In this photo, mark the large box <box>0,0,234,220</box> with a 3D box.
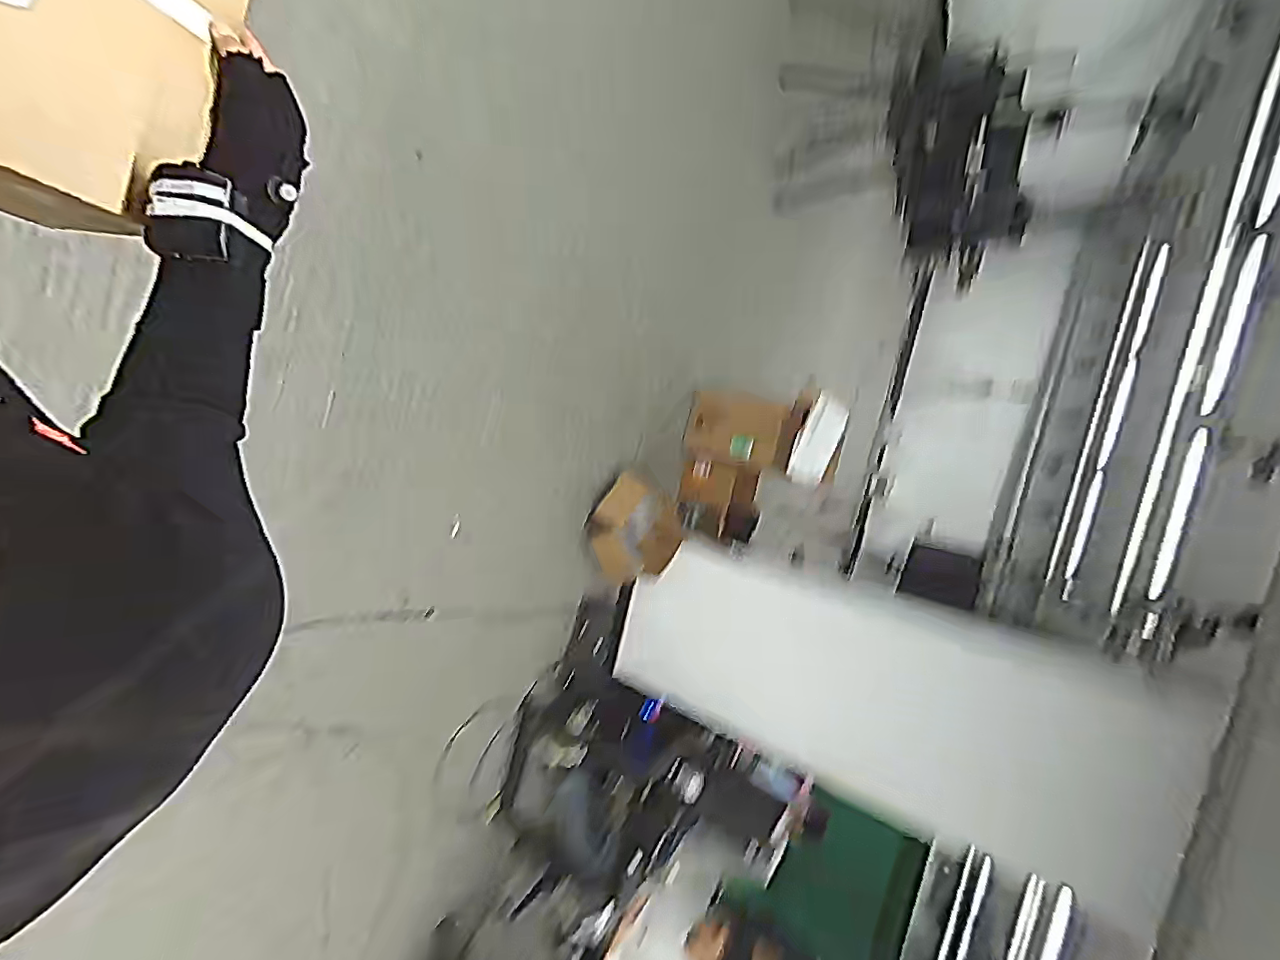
[{"bbox_3d":[-0.548,-0.404,0.320,0.408,0.320,0.320,11,95,-64],"label":"large box"}]
